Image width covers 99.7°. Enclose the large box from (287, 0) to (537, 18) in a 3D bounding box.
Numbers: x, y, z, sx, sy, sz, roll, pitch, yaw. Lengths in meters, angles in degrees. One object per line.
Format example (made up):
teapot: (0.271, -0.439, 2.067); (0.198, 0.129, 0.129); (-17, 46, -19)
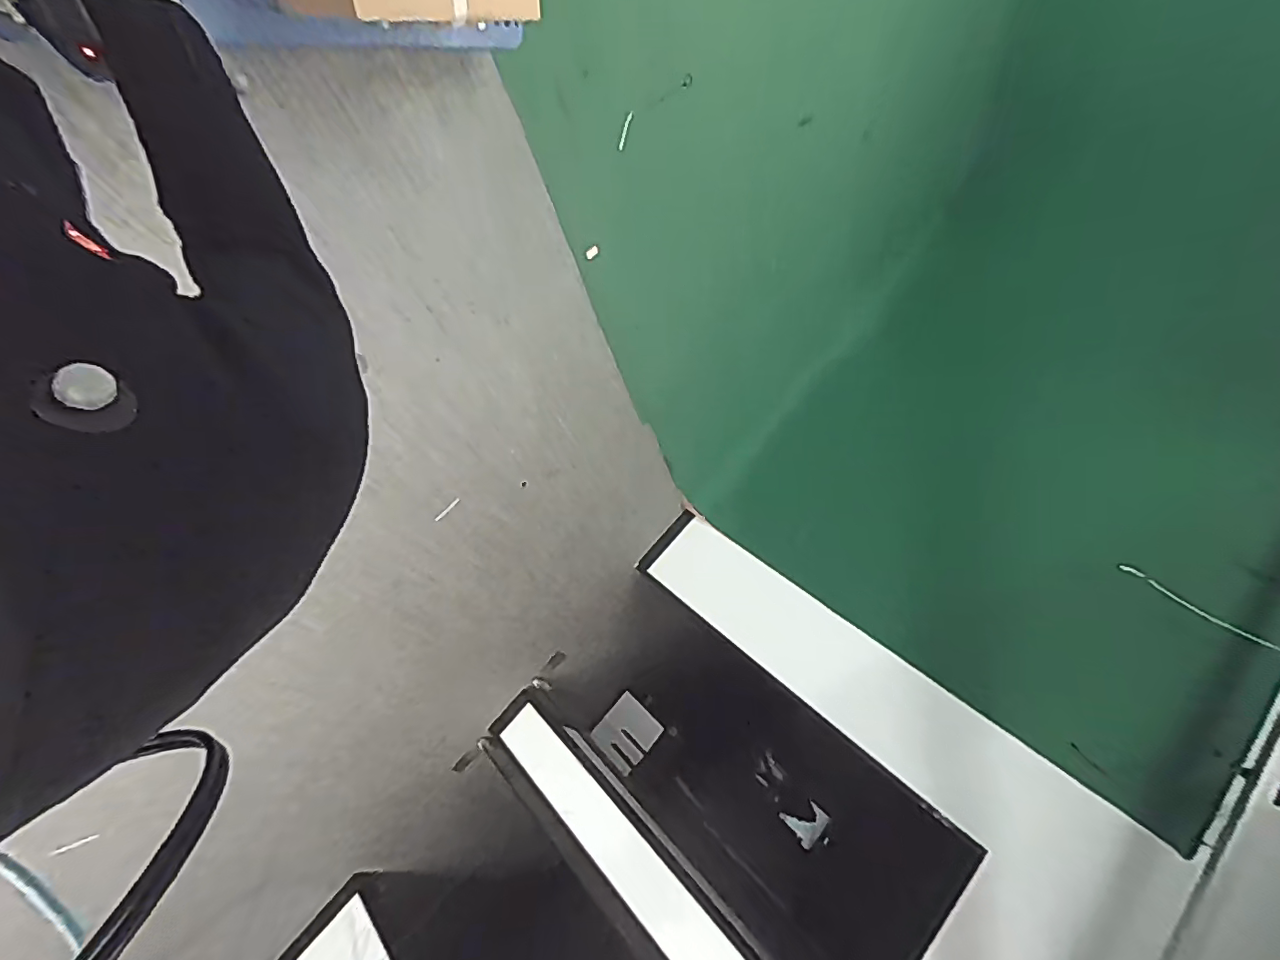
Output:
large box: (-0.384, -0.936, 0.779); (0.320, 0.320, 0.408); (-33, 141, -32)
